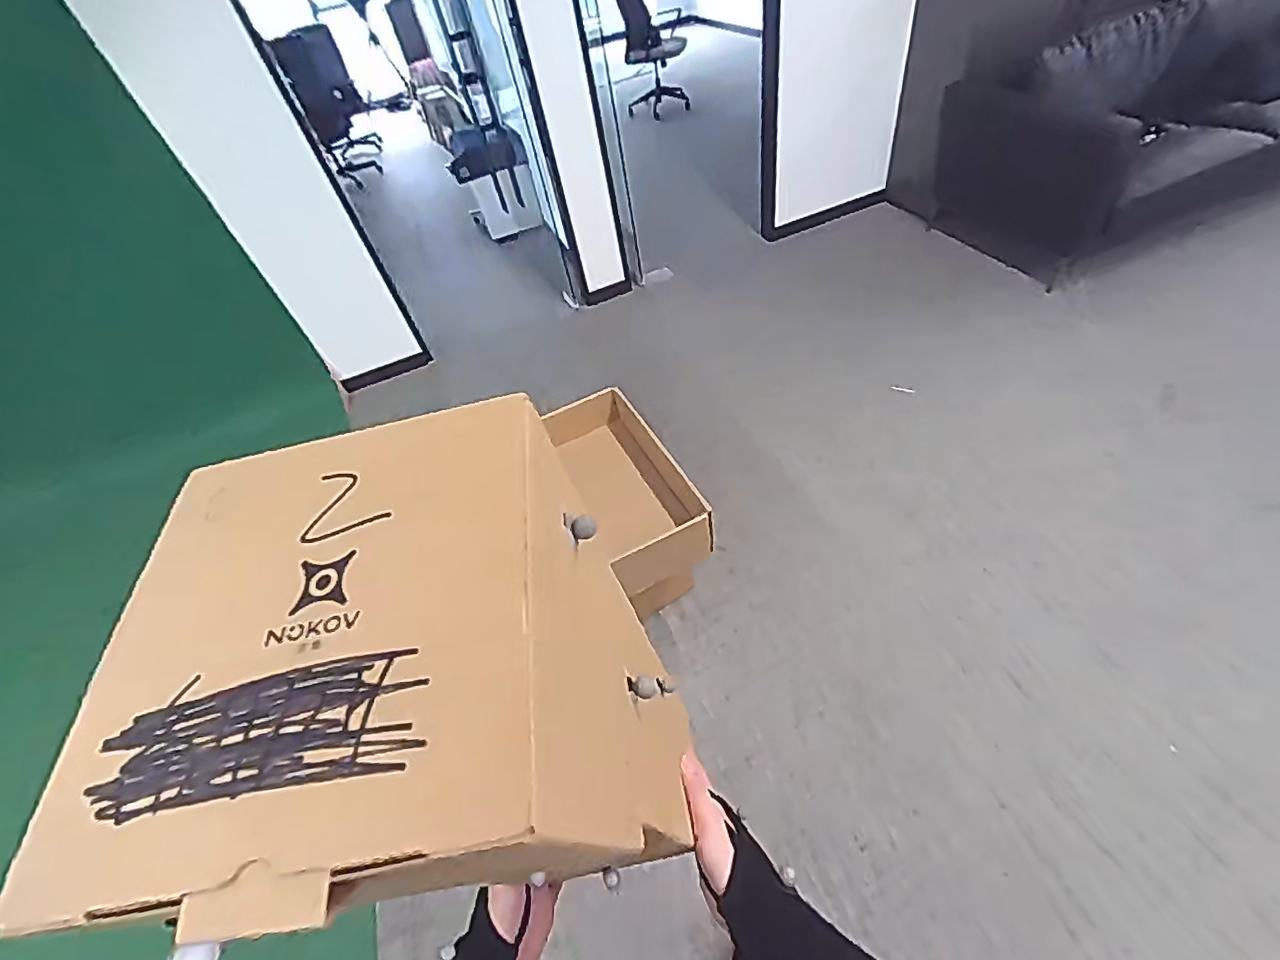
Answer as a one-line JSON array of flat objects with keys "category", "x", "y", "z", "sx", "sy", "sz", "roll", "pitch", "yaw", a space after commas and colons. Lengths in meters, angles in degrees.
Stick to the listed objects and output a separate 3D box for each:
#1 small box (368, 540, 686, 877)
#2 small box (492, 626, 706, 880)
[{"category": "small box", "x": -0.068, "y": 0.174, "z": 0.402, "sx": 0.168, "sy": 0.176, "sz": 0.179, "roll": -14, "pitch": 53, "yaw": 2}, {"category": "small box", "x": -0.038, "y": 0.271, "z": 0.529, "sx": 0.168, "sy": 0.176, "sz": 0.179, "roll": -14, "pitch": 53, "yaw": 3}]
